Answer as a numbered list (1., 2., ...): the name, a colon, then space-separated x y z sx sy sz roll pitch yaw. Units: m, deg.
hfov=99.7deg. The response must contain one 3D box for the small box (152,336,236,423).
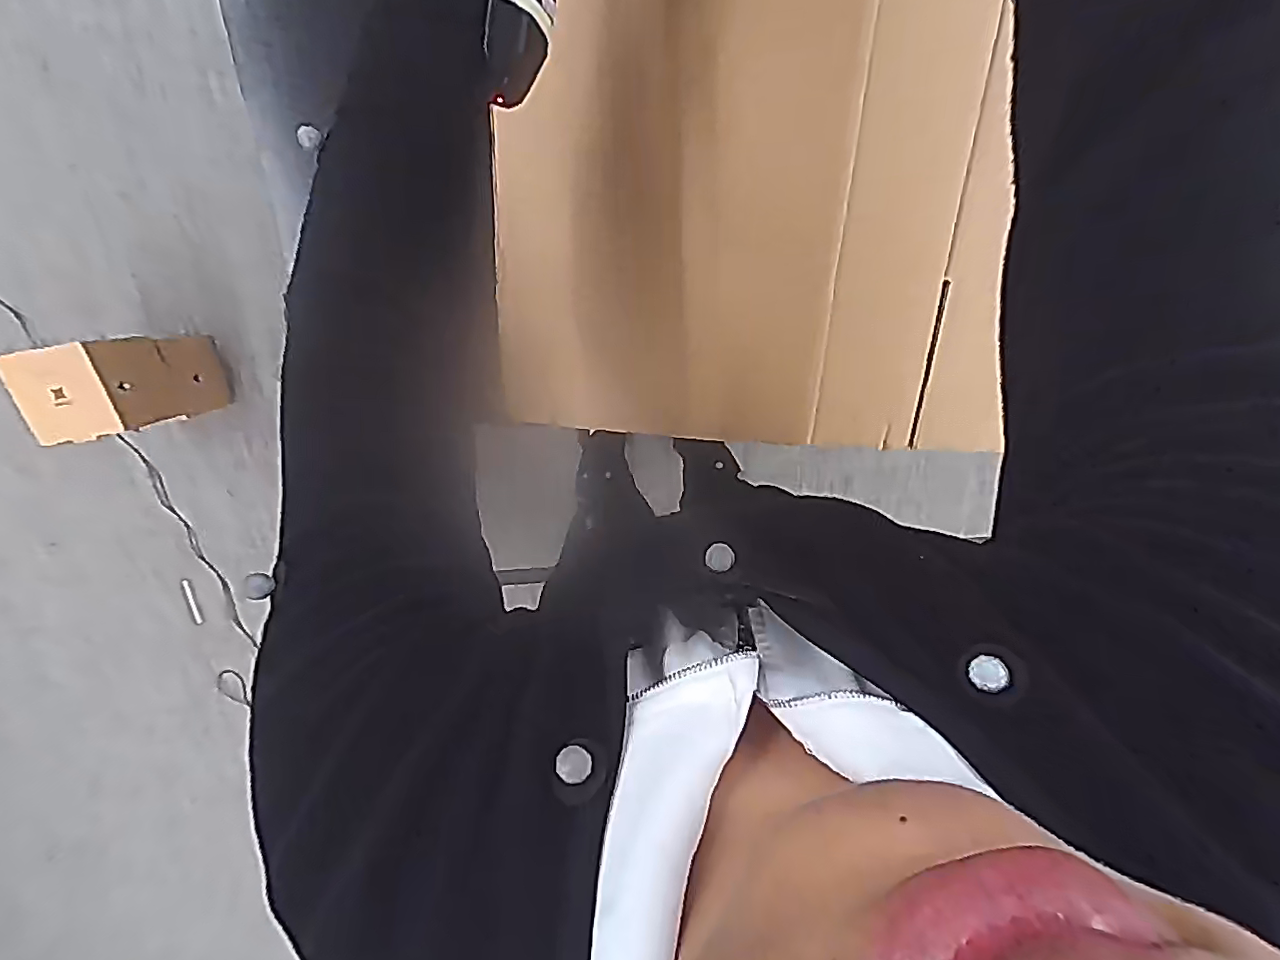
1. small box: -1.088 -0.233 1.245 0.168 0.176 0.179 -8 110 -1

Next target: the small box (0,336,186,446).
1. small box: -1.080 -0.185 1.089 0.168 0.176 0.179 -11 108 -1
